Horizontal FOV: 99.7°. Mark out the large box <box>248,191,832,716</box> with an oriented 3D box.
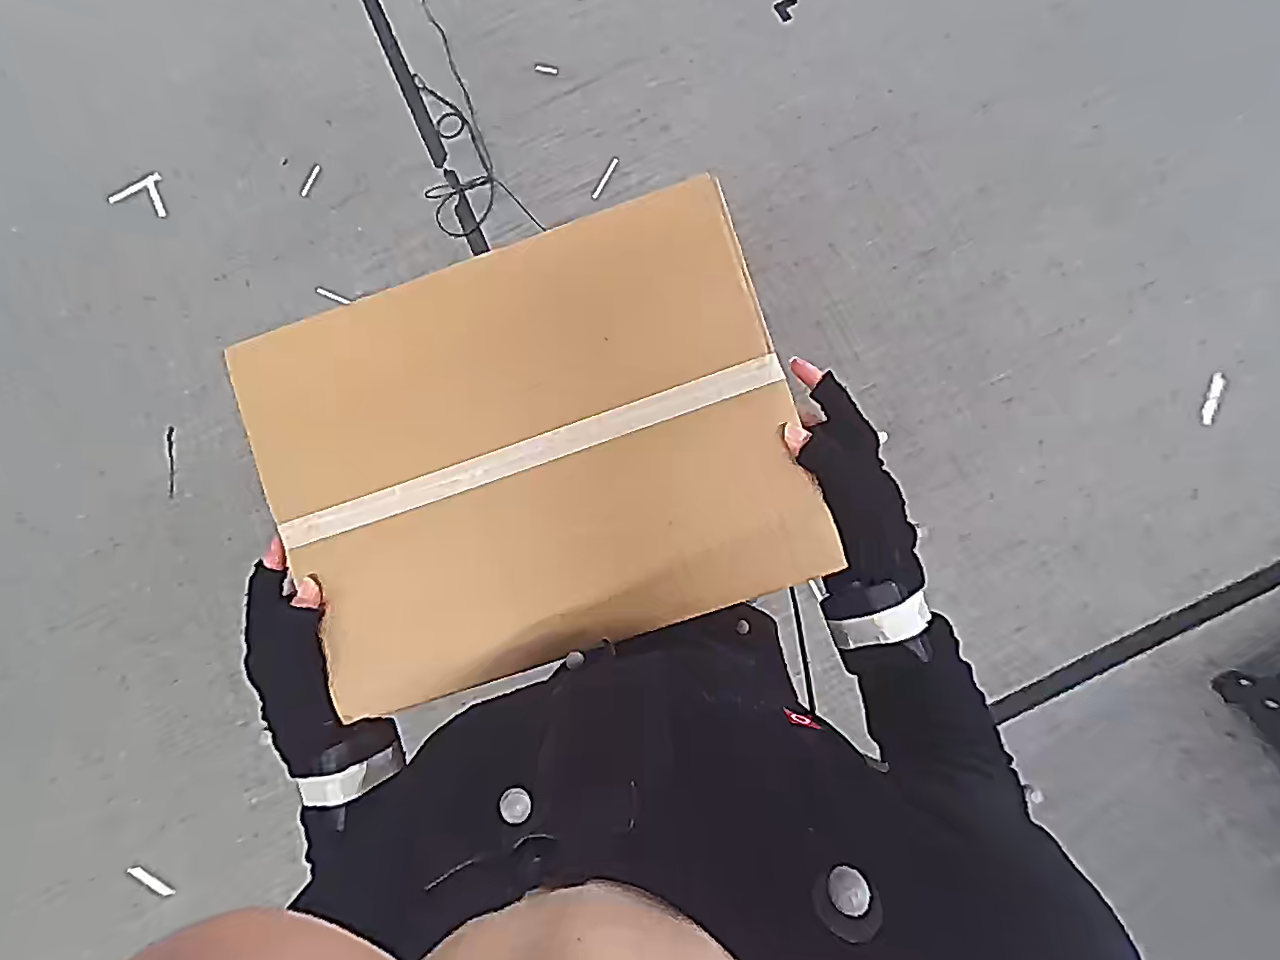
[{"bbox_3d":[-0.075,-0.018,0.572,0.408,0.320,0.320,-18,88,3],"label":"large box"}]
